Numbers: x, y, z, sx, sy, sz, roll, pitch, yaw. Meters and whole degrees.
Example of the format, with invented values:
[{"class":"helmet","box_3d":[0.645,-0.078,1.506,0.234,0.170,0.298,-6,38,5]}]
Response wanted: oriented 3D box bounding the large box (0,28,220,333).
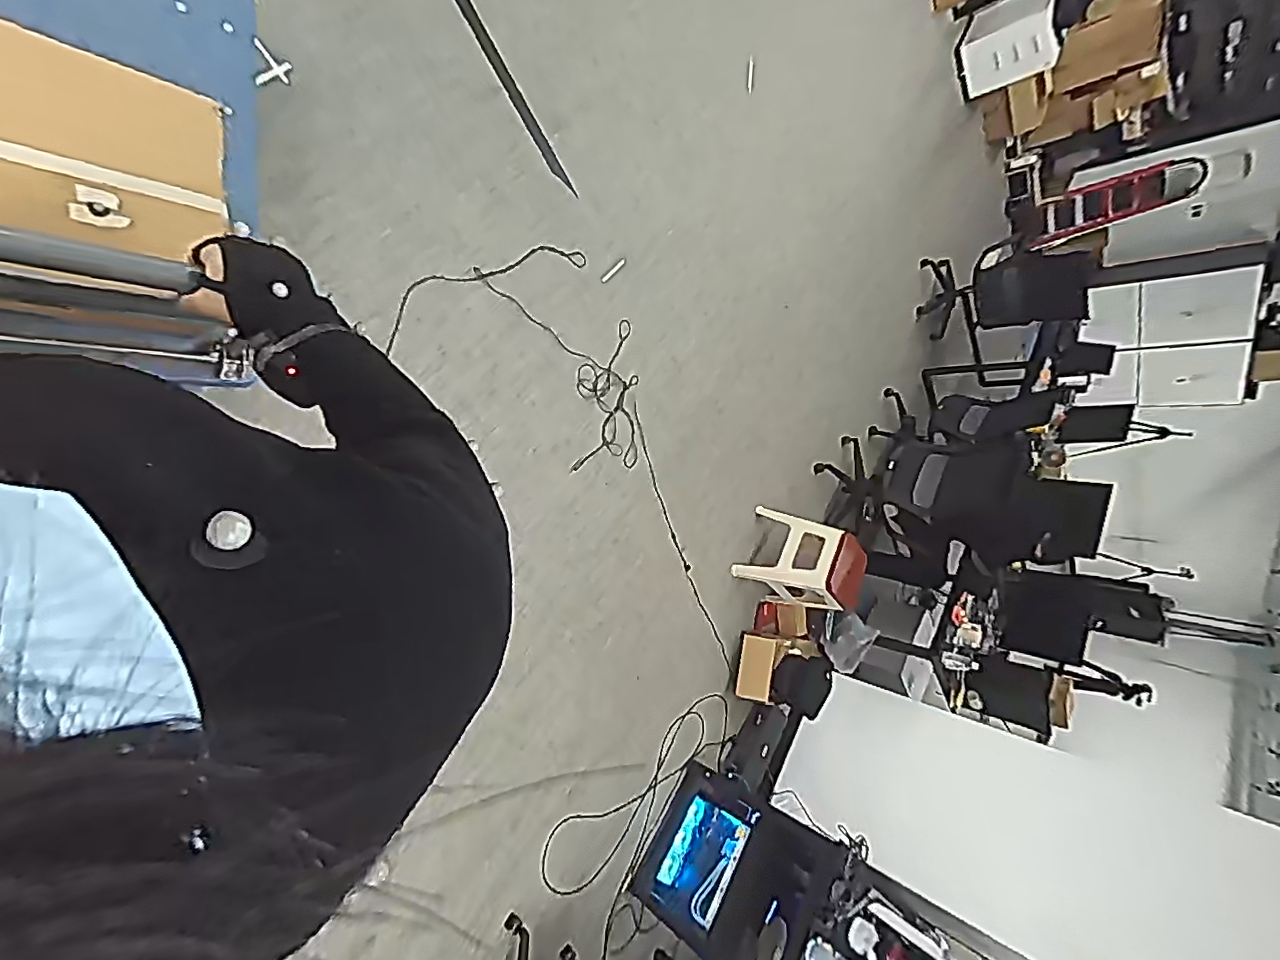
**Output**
[{"class":"large box","box_3d":[-0.892,-0.414,0.785,0.408,0.320,0.320,-2,96,-46]}]
